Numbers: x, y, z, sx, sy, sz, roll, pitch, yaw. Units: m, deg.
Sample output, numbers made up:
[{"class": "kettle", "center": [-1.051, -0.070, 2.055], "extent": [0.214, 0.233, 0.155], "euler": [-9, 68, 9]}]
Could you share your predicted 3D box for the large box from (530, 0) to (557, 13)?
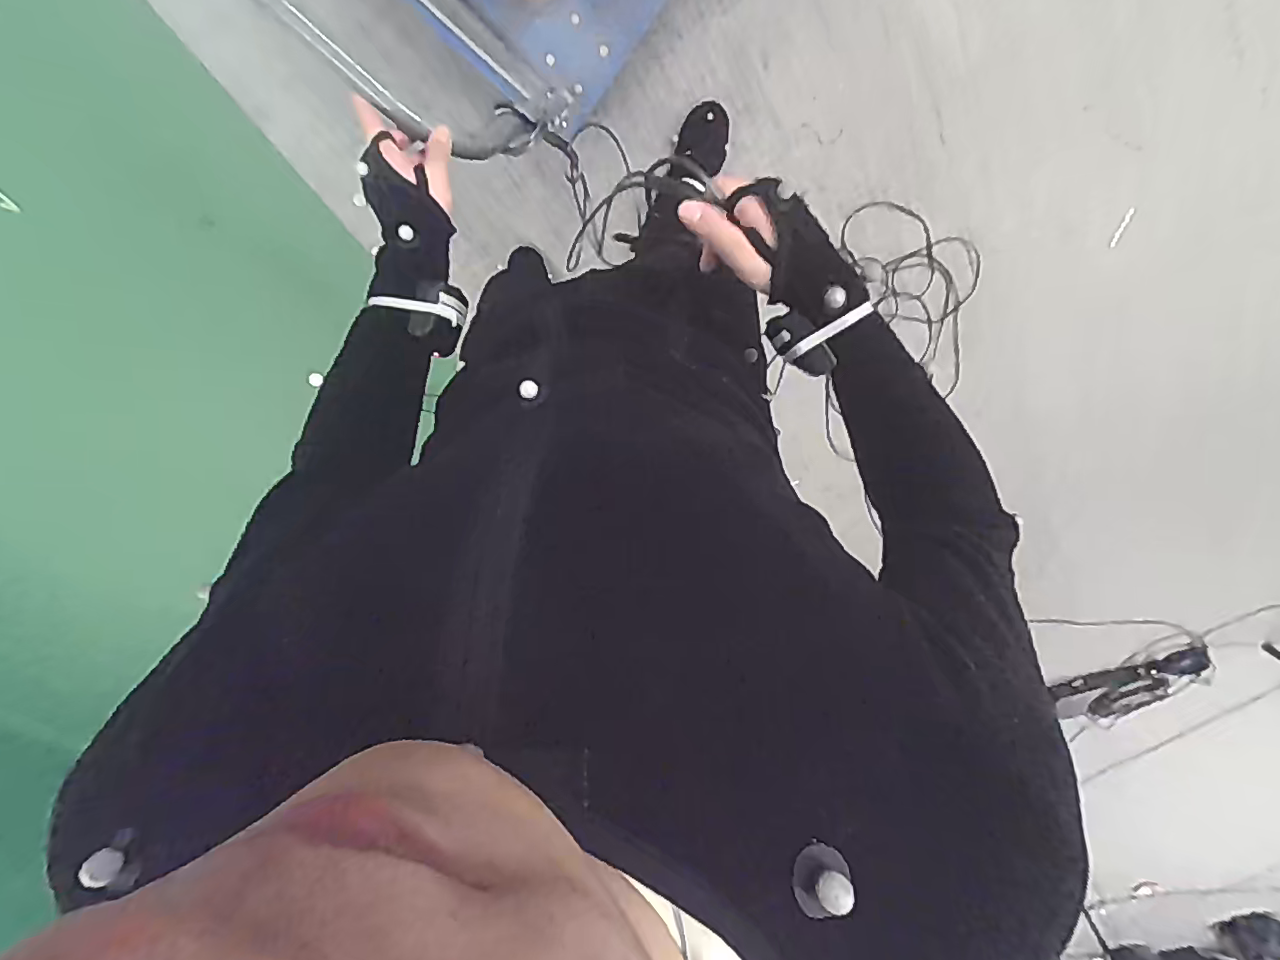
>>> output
[{"class": "large box", "center": [-0.145, -0.969, 0.729], "extent": [0.320, 0.320, 0.408], "euler": [38, 116, -25]}]
